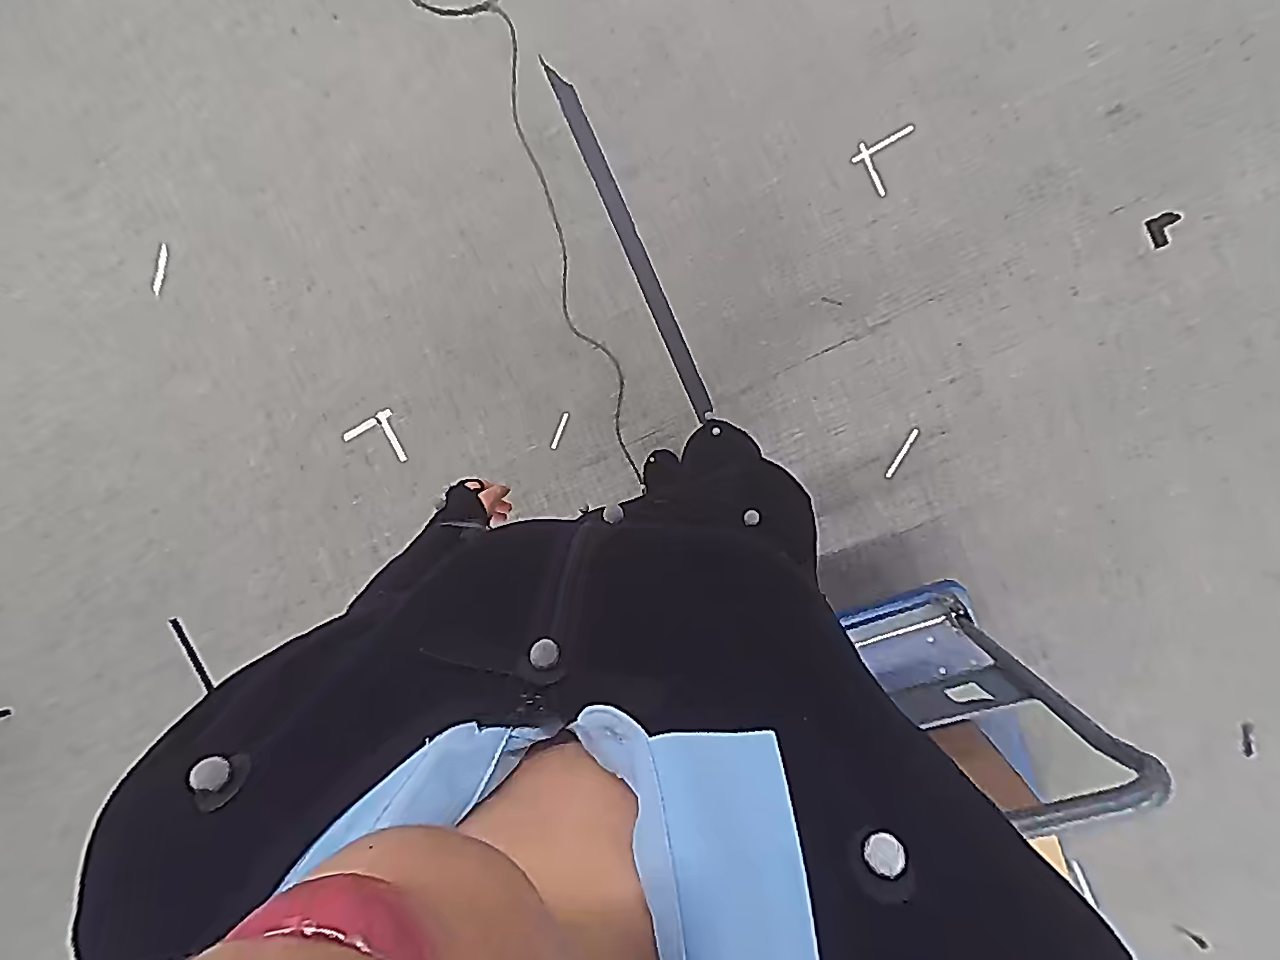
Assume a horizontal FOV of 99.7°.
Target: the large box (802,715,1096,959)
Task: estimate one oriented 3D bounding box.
[{"bbox_3d":[0.607,0.763,1.145,0.408,0.320,0.320,-20,94,9],"label":"large box"}]
